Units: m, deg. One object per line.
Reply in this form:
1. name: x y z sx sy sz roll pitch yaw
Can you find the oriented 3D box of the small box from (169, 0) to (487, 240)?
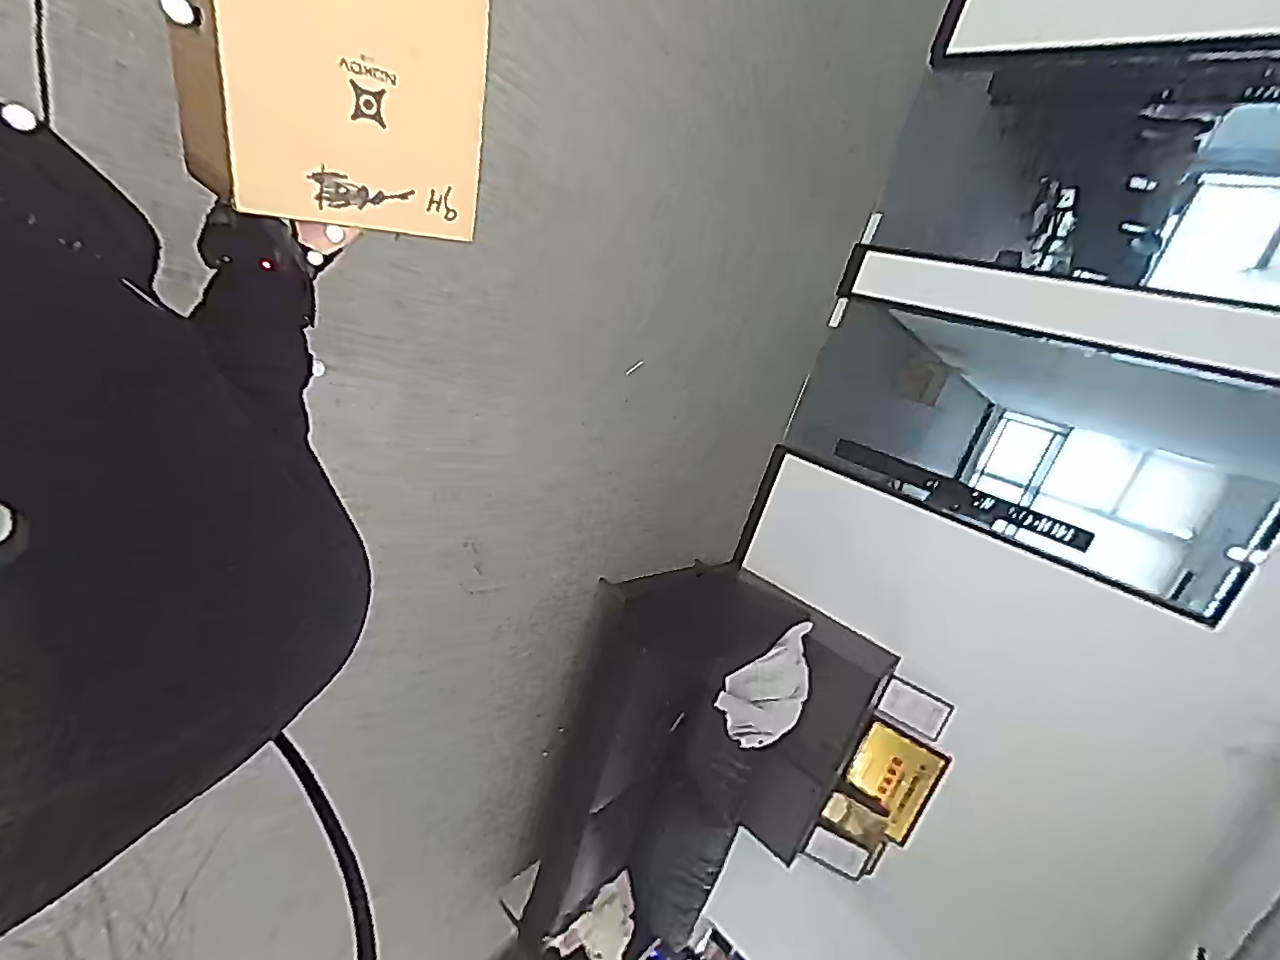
1. small box: -0.238 -0.303 0.416 0.168 0.176 0.179 -14 128 -43
